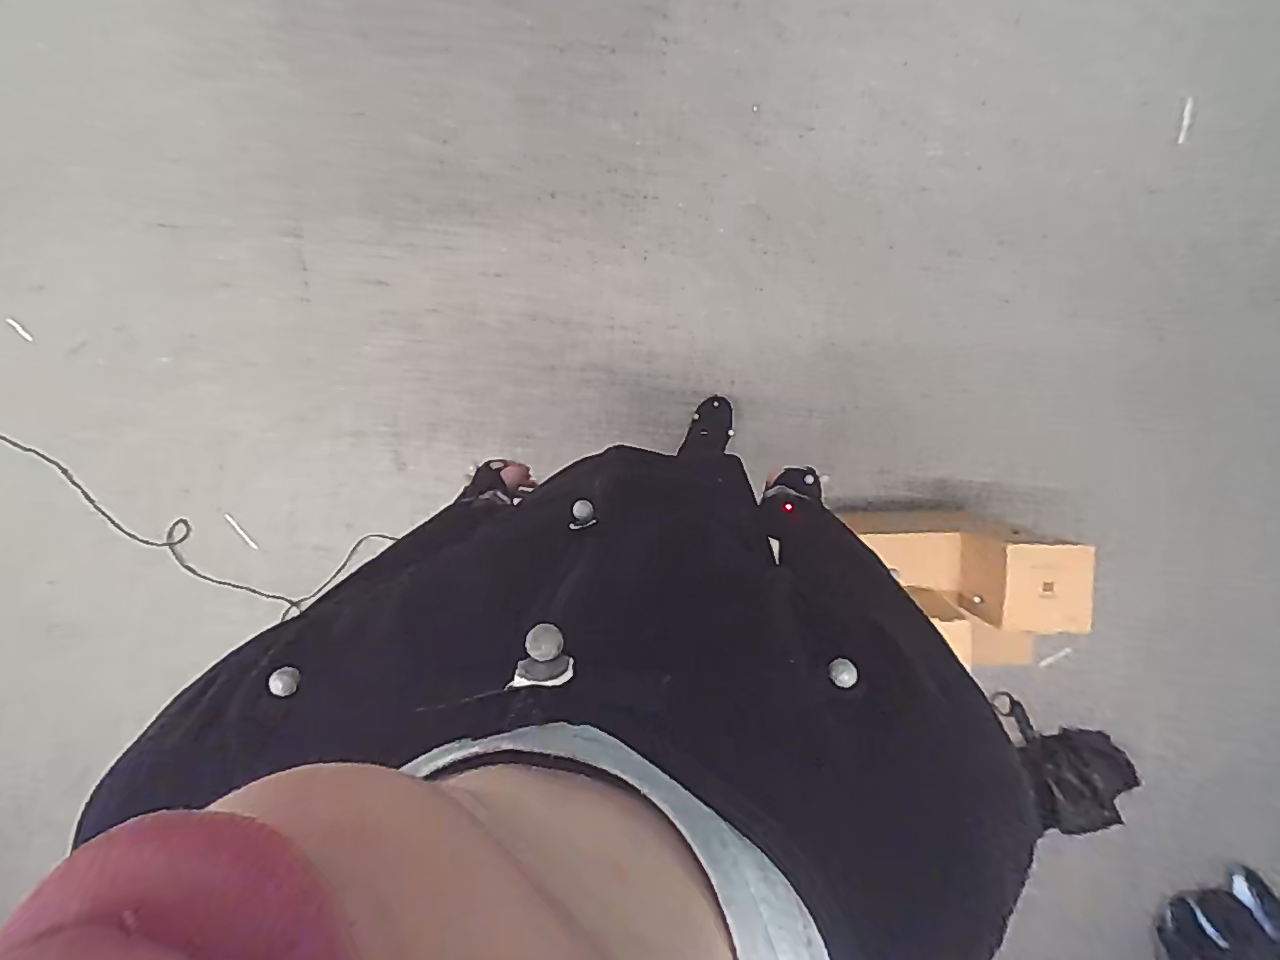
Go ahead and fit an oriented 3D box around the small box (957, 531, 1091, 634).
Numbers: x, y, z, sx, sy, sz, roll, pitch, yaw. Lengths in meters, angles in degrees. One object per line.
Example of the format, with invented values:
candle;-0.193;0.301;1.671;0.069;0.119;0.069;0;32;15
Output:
small box;0.788;0.206;1.128;0.168;0.176;0.179;0;93;3

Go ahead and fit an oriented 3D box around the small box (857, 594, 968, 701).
small box;0.574;0.349;1.158;0.168;0.176;0.179;-3;98;5
